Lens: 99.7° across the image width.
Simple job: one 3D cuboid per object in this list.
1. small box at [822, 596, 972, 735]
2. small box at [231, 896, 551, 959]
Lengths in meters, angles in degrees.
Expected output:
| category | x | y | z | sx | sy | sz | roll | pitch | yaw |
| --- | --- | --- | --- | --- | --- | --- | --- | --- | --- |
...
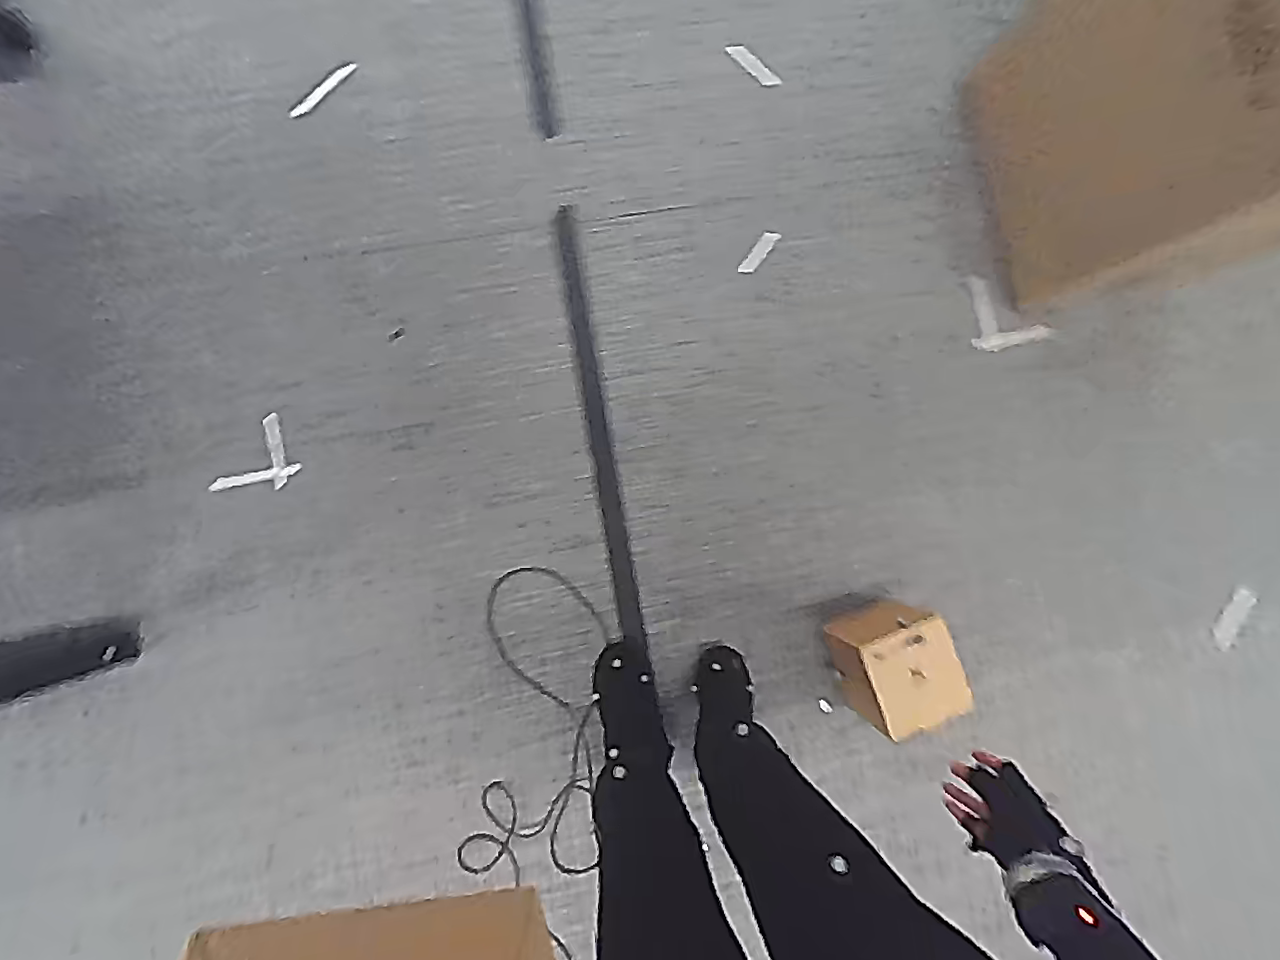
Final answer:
| category | x | y | z | sx | sy | sz | roll | pitch | yaw |
| --- | --- | --- | --- | --- | --- | --- | --- | --- | --- |
| small box | 0.476 | 0.340 | 1.026 | 0.168 | 0.176 | 0.179 | -20 | 90 | -6 |
| small box | -0.123 | 0.315 | 0.215 | 0.168 | 0.179 | 0.176 | 19 | 104 | -32 |
